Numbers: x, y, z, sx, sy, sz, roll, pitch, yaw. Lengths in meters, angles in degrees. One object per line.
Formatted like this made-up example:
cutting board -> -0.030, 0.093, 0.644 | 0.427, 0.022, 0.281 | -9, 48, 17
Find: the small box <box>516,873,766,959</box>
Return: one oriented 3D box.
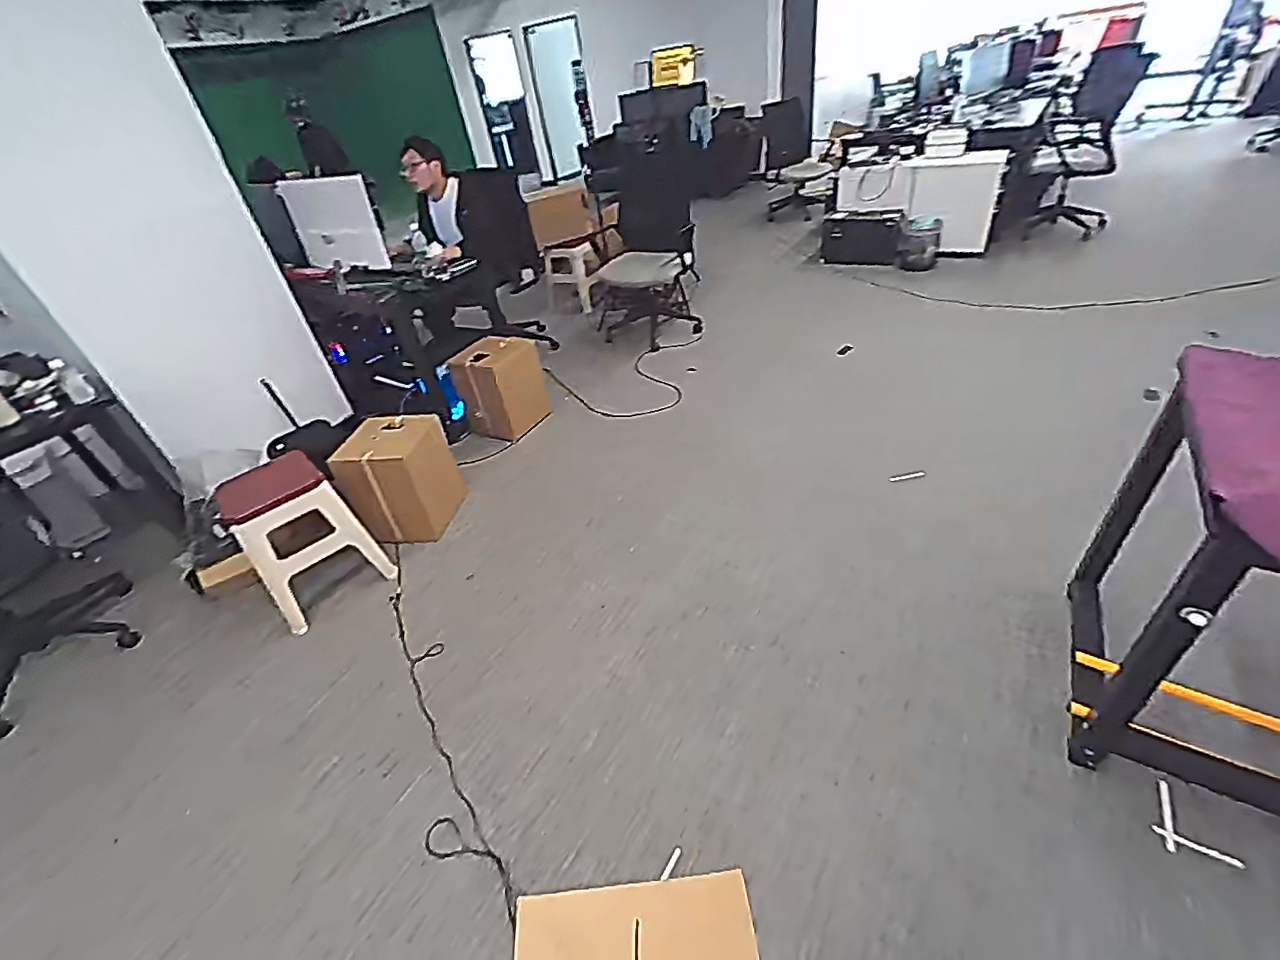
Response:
small box -> 0.007, 0.402, 0.371 | 0.168, 0.176, 0.179 | -5, 42, -3
